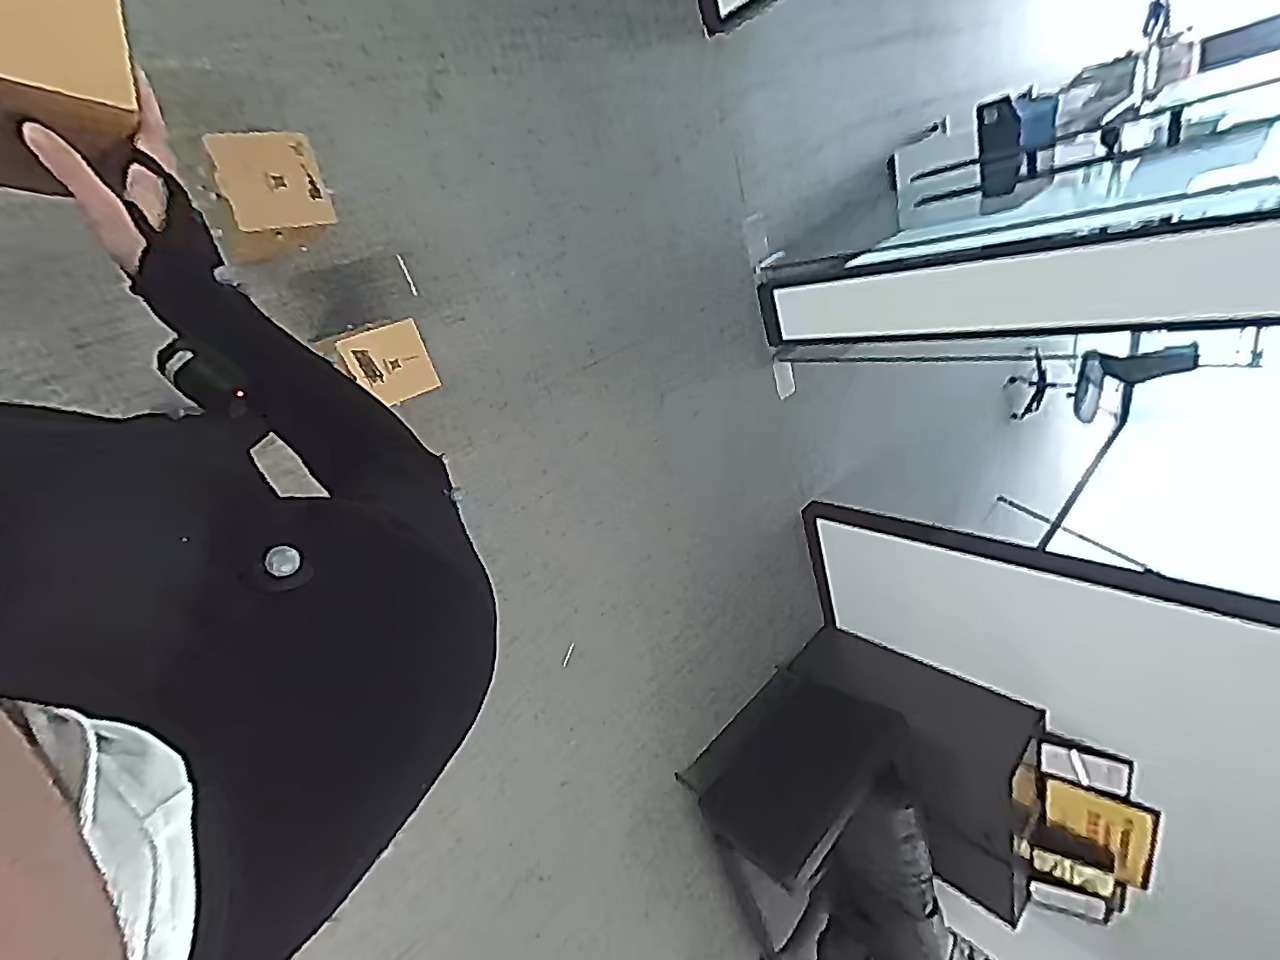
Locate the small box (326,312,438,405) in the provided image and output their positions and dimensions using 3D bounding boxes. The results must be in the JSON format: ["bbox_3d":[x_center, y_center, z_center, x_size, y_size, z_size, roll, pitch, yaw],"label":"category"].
[{"bbox_3d":[-0.612,-0.283,1.271,0.179,0.176,0.168,-32,118,-31],"label":"small box"}]

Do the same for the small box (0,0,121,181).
[{"bbox_3d":[-0.517,-0.354,0.402,0.179,0.176,0.168,-11,93,-41],"label":"small box"}]

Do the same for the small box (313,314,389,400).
[{"bbox_3d":[-0.713,-0.313,1.397,0.168,0.176,0.179,-33,118,-30],"label":"small box"}]

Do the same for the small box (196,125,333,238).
[{"bbox_3d":[-0.755,-0.596,1.091,0.179,0.176,0.168,-25,116,-33],"label":"small box"}]
